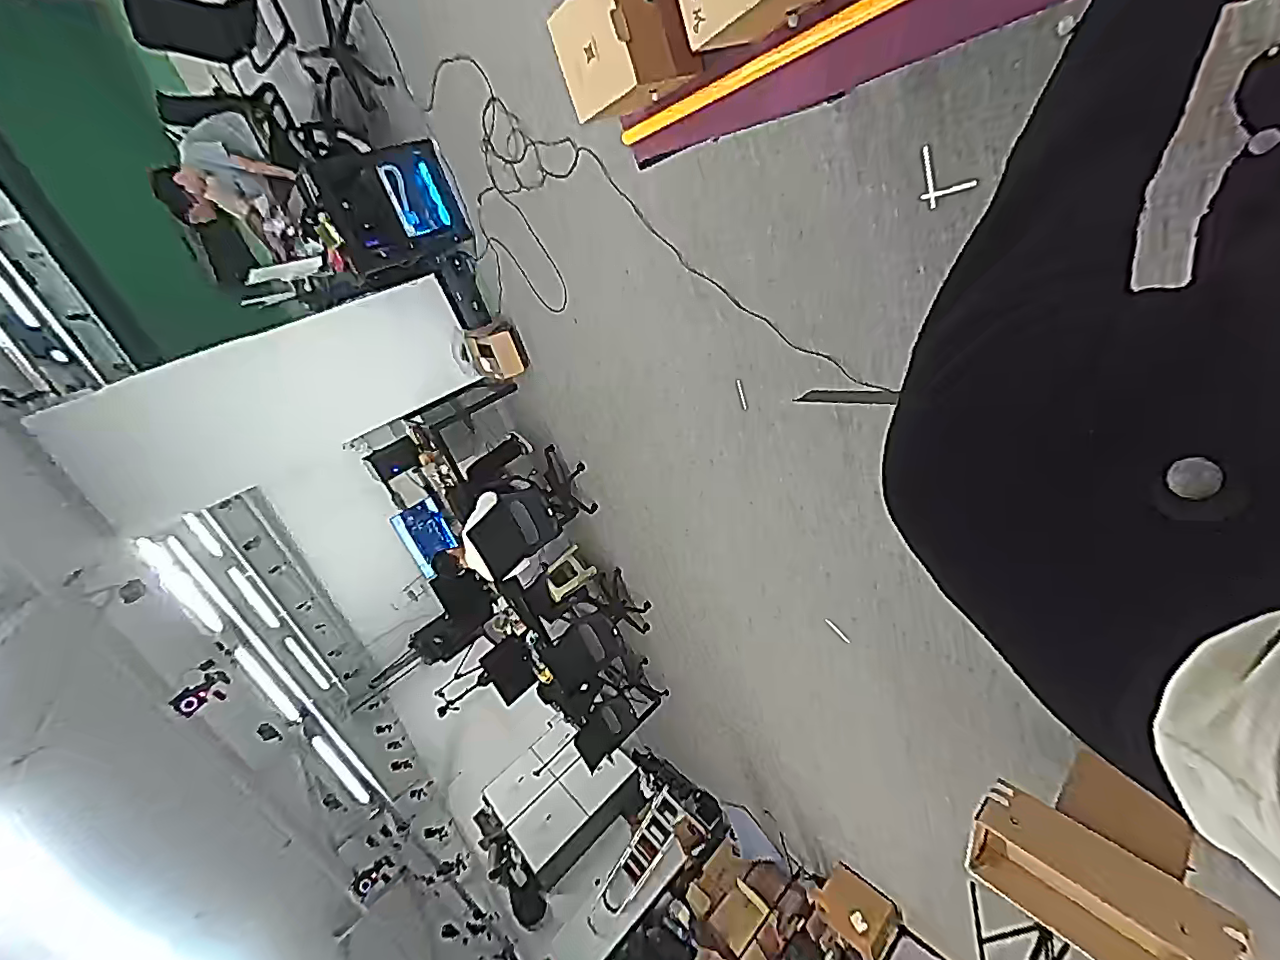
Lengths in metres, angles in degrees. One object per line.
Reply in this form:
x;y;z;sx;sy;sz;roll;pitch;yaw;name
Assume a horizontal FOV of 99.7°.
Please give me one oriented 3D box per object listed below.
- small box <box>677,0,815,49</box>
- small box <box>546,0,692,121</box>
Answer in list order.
0.156;-0.722;0.722;0.179;0.176;0.168;12;130;51;small box
-0.028;-0.768;0.950;0.179;0.176;0.168;11;128;50;small box
